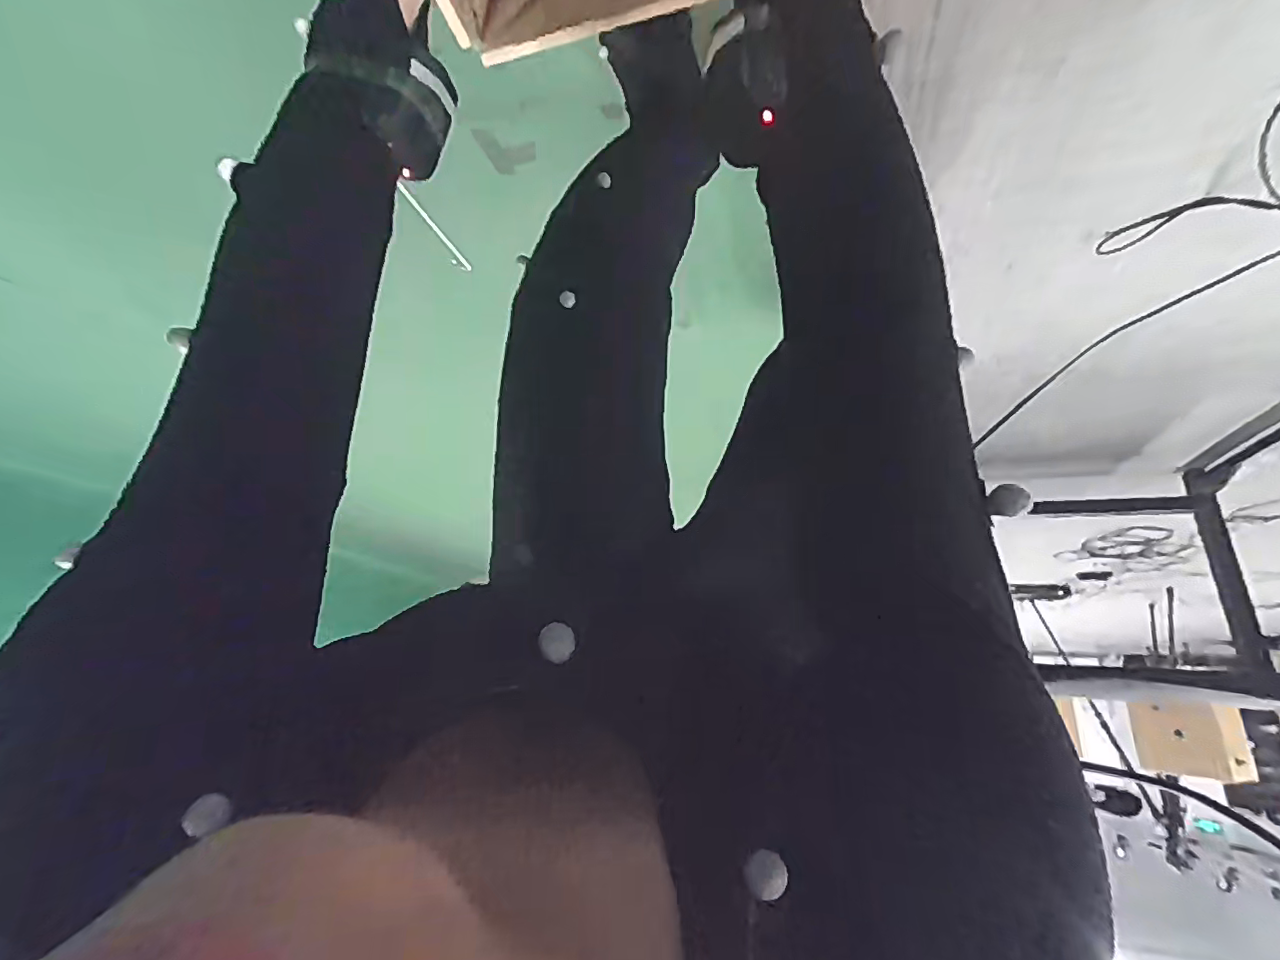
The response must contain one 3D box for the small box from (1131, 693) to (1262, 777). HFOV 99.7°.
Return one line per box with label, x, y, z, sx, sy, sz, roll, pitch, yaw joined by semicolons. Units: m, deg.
small box;1.347;0.613;1.316;0.179;0.176;0.168;14;158;-28
